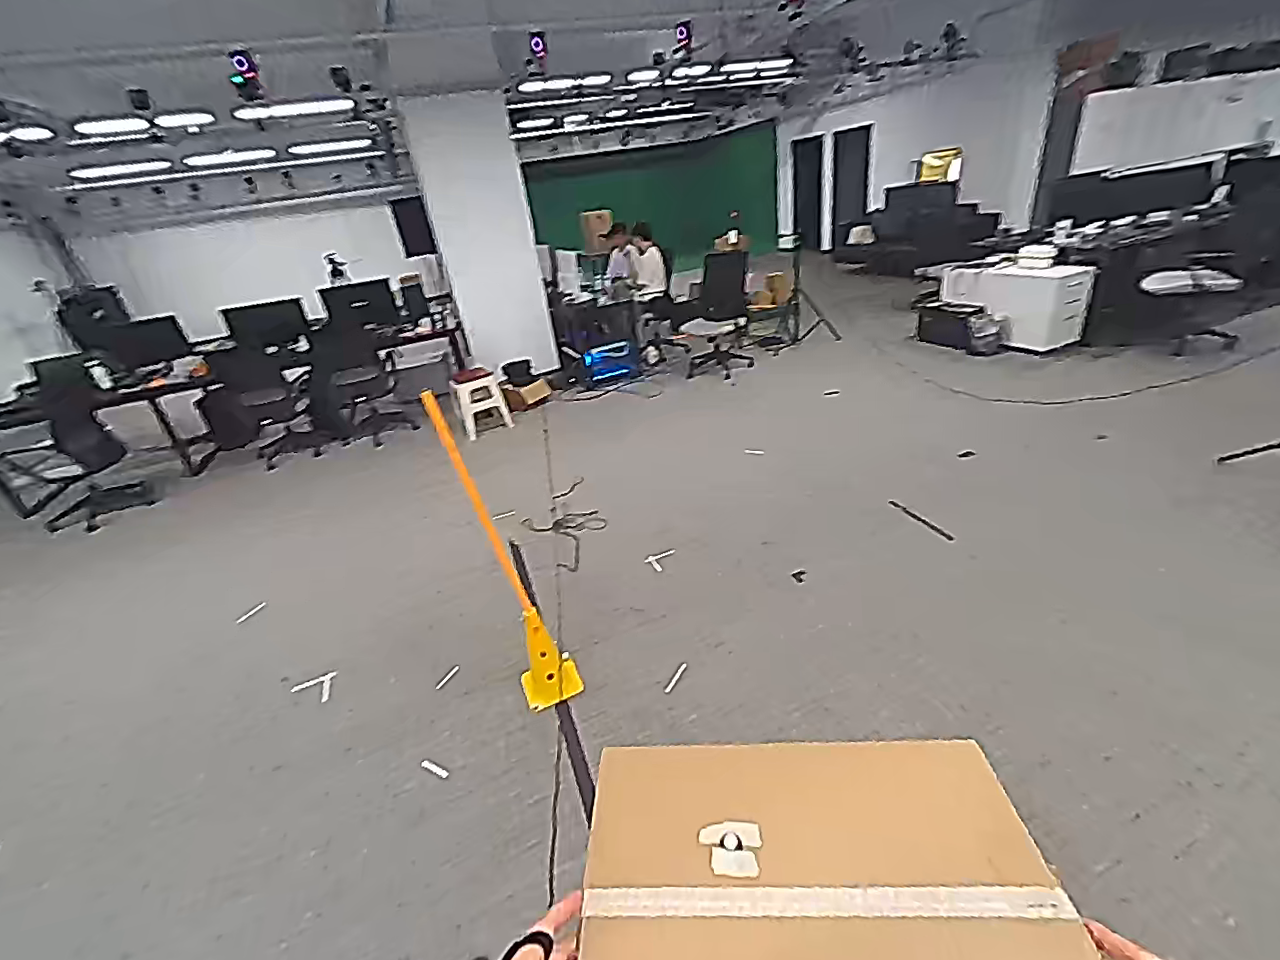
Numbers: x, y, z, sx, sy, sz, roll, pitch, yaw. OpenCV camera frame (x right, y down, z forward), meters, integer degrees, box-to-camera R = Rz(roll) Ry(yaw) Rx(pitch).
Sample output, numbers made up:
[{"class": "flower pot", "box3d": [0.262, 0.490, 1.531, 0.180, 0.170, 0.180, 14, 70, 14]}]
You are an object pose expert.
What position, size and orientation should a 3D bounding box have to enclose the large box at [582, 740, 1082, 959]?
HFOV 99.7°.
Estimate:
[{"class": "large box", "box3d": [0.167, 0.504, 0.536, 0.408, 0.320, 0.320, -5, 26, 5]}]
